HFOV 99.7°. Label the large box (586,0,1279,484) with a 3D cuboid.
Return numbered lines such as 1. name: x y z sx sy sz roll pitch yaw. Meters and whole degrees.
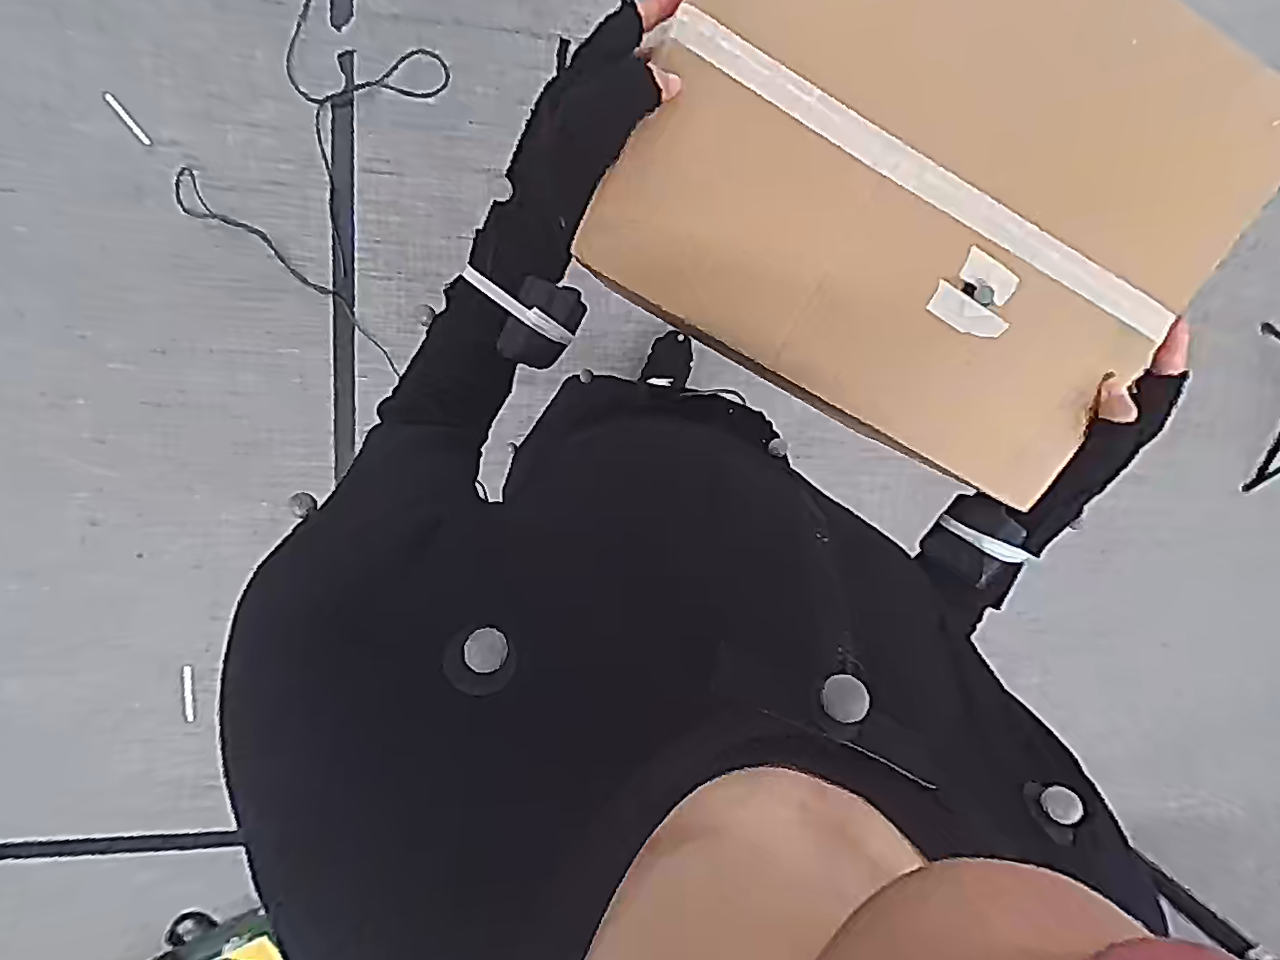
1. large box: 0.201 -0.251 0.523 0.408 0.320 0.320 28 105 -8
